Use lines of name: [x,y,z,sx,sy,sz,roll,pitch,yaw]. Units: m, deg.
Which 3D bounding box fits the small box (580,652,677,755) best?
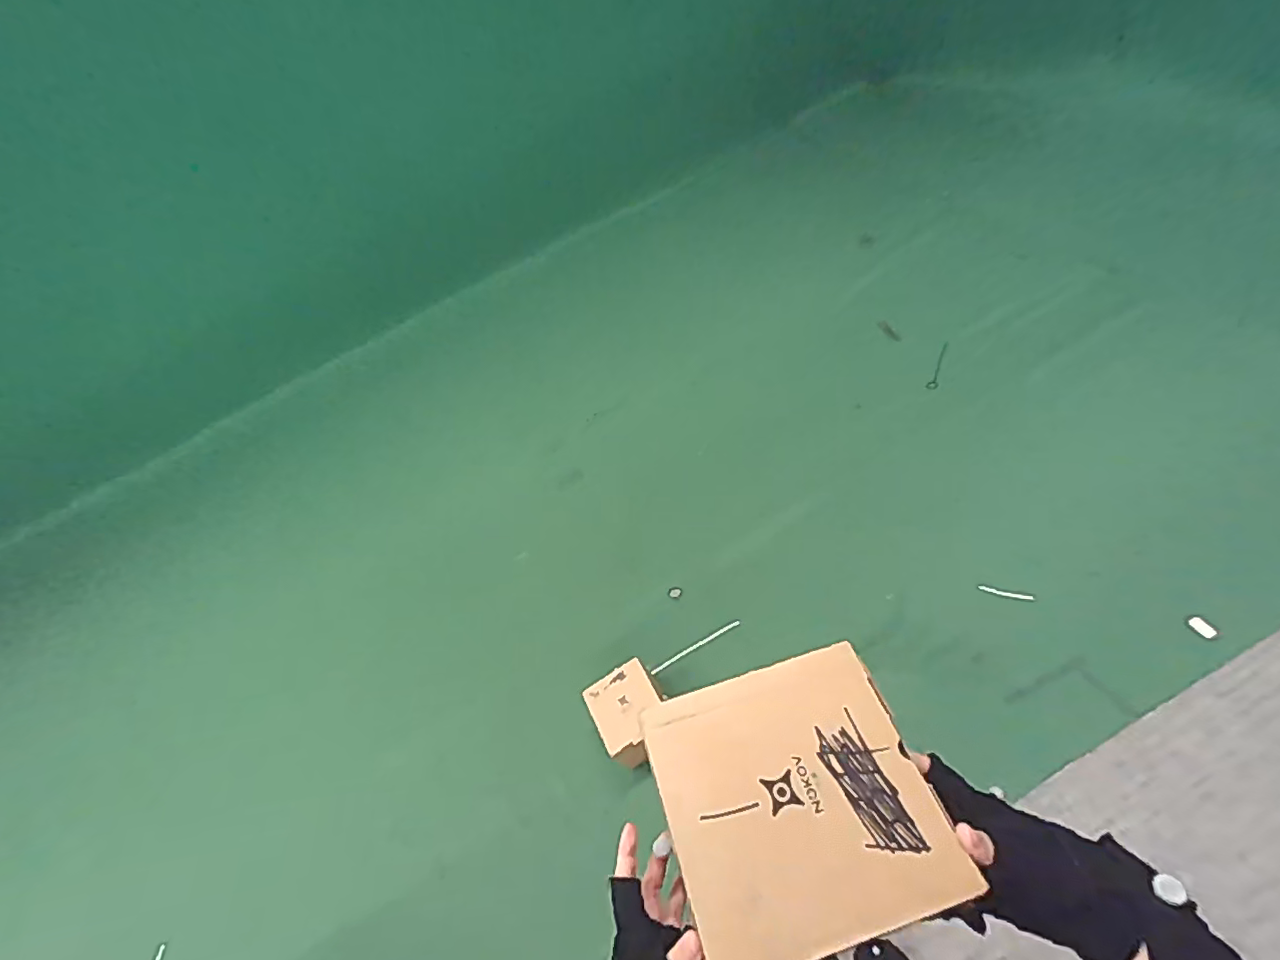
small box: [-0.025,0.574,1.374,0.168,0.176,0.179,-31,52,-4]
